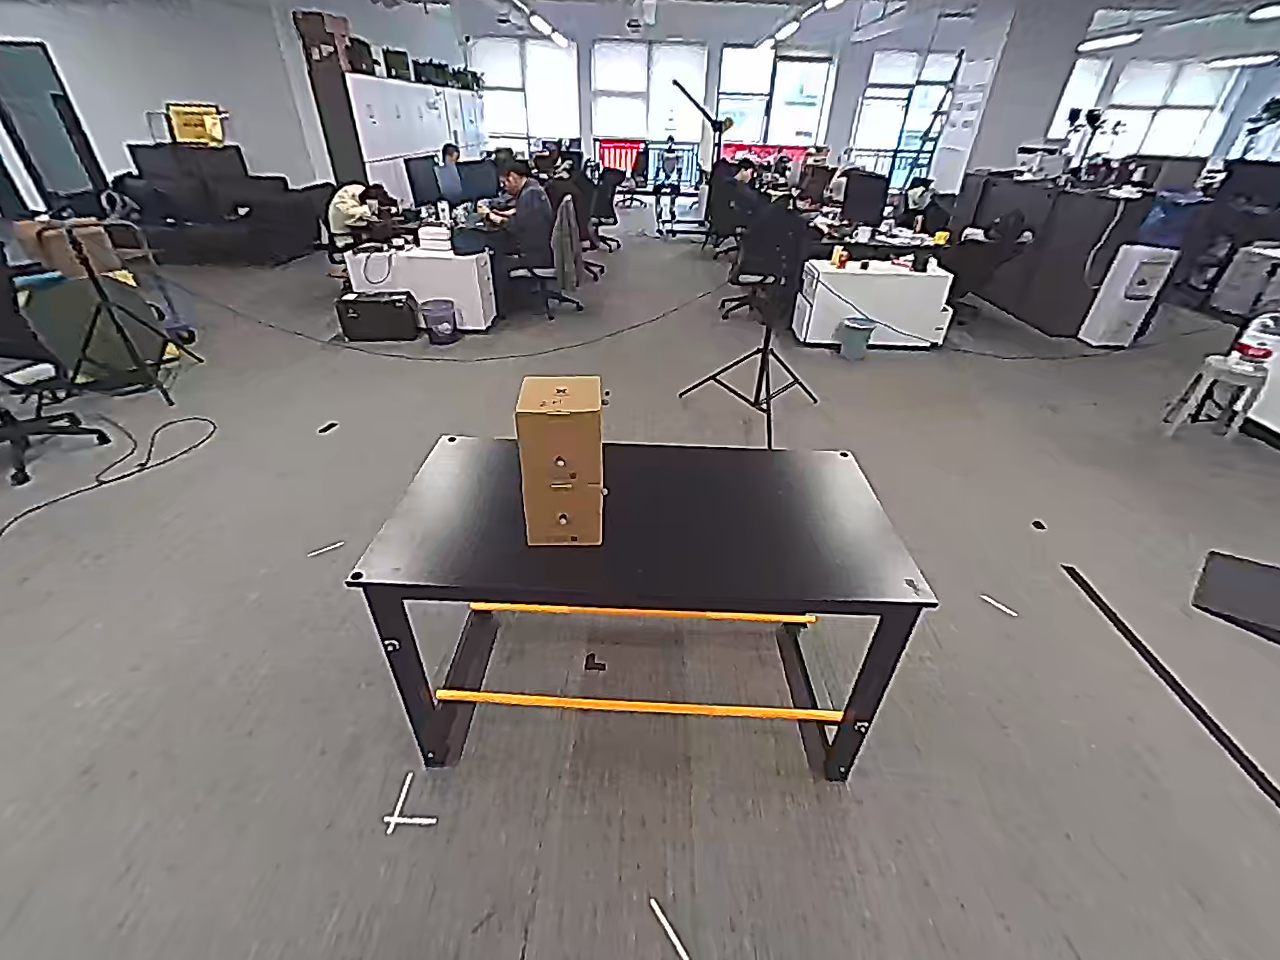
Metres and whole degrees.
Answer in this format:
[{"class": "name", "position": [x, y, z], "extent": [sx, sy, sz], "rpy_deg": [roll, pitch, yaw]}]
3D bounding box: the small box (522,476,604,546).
[{"class": "small box", "position": [-0.169, 0.040, 1.247], "extent": [0.168, 0.176, 0.179], "rpy_deg": [-1, 34, -3]}]

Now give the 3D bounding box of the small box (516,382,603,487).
[{"class": "small box", "position": [-0.165, -0.101, 1.159], "extent": [0.168, 0.176, 0.179], "rpy_deg": [-2, 33, -4]}]
